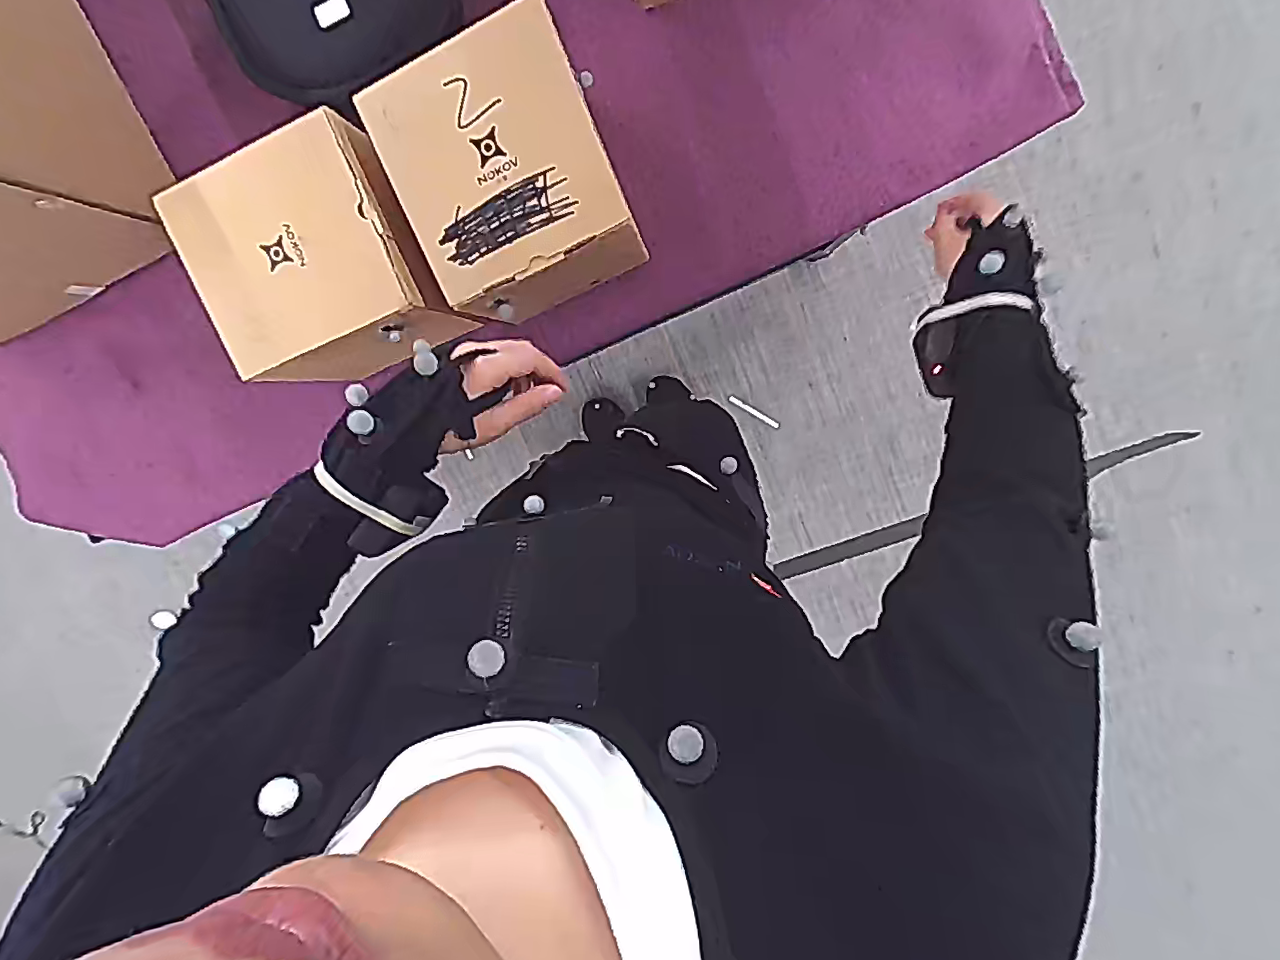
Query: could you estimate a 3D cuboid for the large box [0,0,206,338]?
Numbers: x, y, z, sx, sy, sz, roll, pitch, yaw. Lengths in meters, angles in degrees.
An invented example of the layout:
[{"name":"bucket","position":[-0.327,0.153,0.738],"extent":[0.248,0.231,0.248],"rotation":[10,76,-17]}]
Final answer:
[{"name":"large box","position":[-0.716,-0.372,0.458],"extent":[0.320,0.320,0.408],"rotation":[-23,101,8]}]
